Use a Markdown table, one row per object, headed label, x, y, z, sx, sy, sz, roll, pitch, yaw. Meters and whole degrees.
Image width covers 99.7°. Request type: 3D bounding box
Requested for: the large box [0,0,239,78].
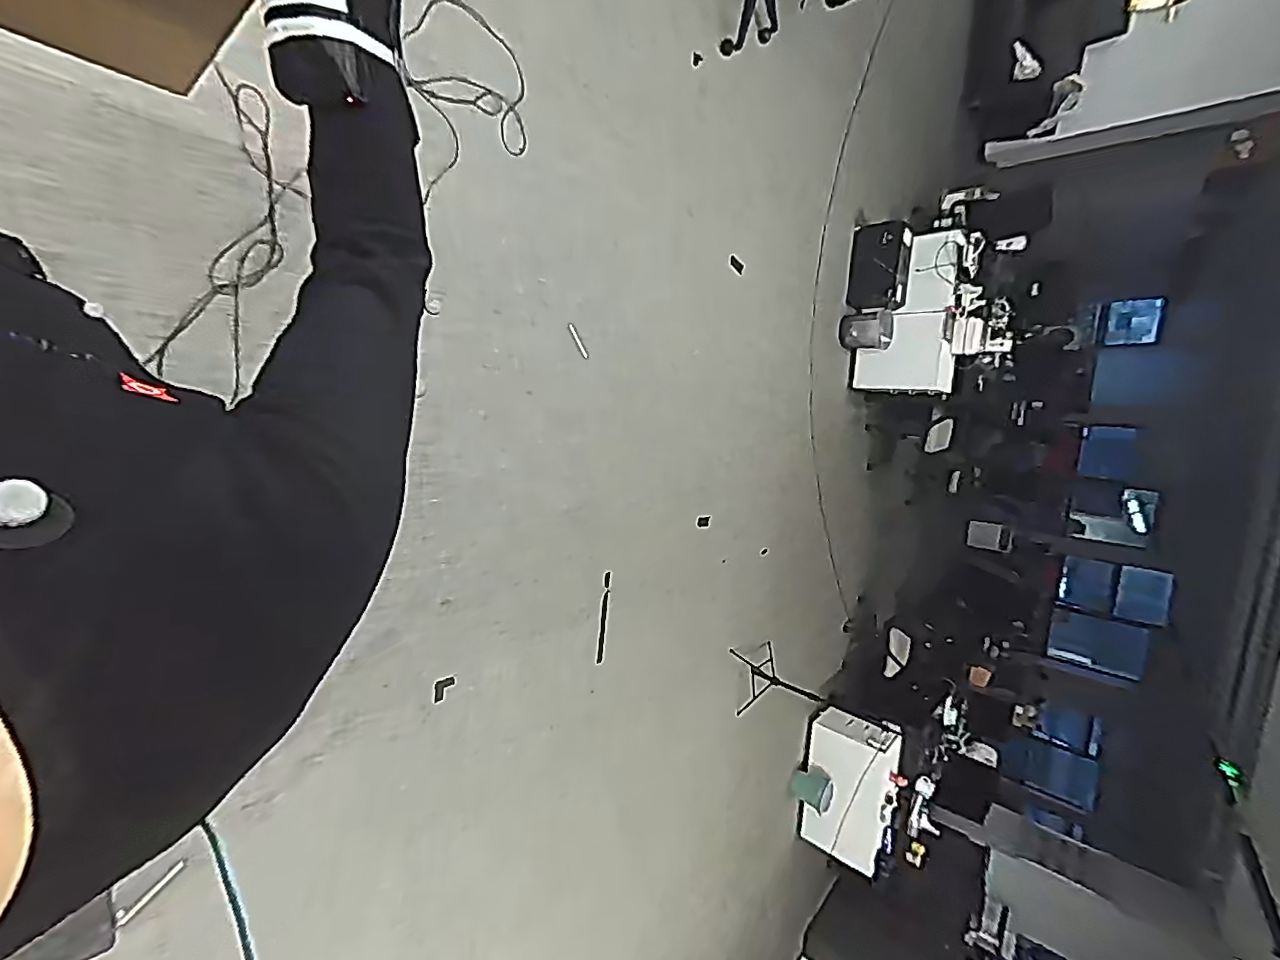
| label | x | y | z | sx | sy | sz | roll | pitch | yaw |
| --- | --- | --- | --- | --- | --- | --- | --- | --- | --- |
| large box | -0.449 | -0.497 | 0.259 | 0.408 | 0.320 | 0.320 | -5 | 104 | -50 |
